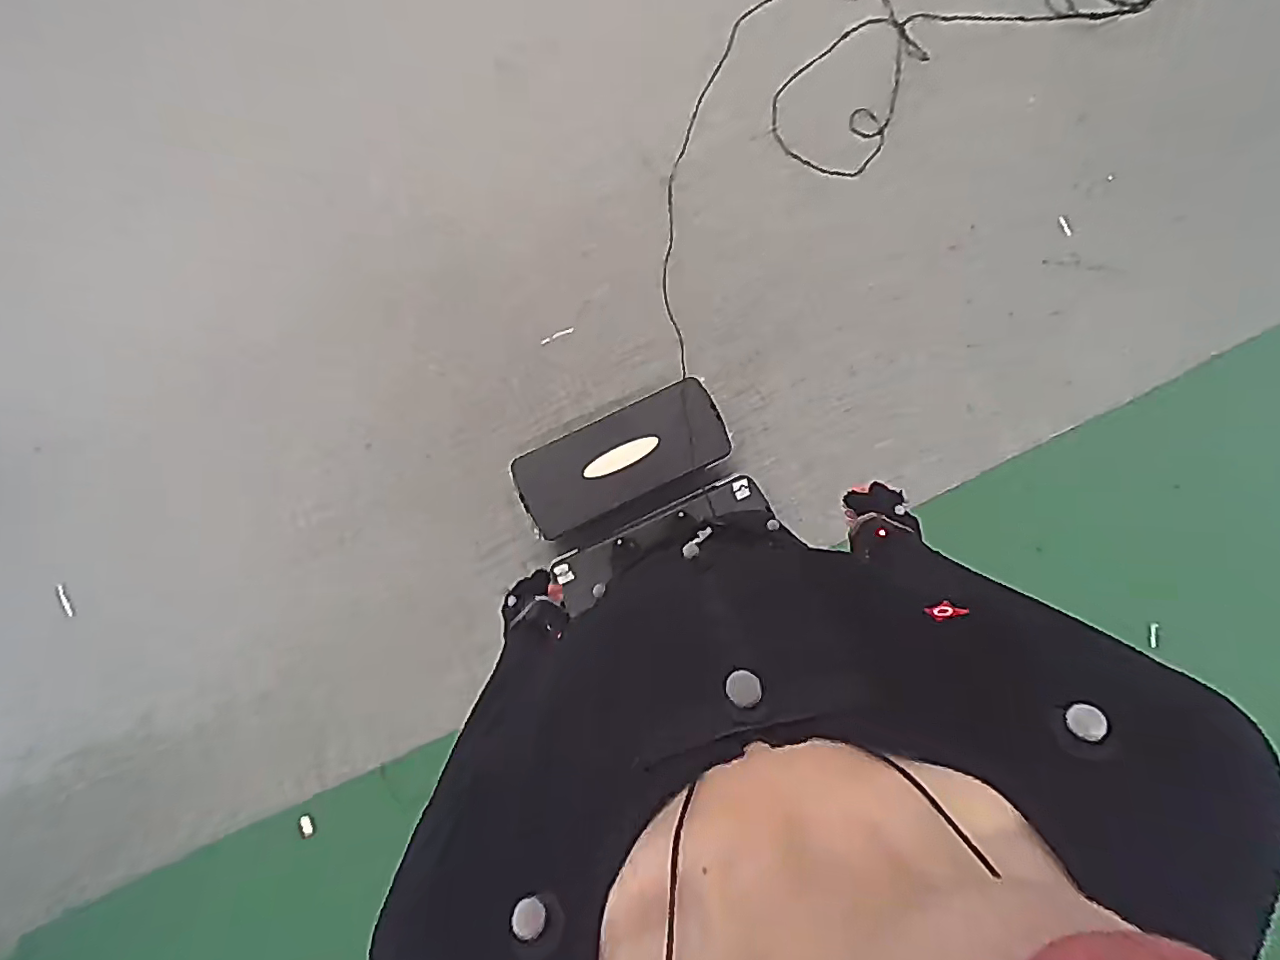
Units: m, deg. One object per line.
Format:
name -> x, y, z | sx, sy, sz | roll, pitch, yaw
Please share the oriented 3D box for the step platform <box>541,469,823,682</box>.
step platform -> 0.104, 0.237, 1.396 | 0.684, 0.204, 0.286 | -26, 86, -3
